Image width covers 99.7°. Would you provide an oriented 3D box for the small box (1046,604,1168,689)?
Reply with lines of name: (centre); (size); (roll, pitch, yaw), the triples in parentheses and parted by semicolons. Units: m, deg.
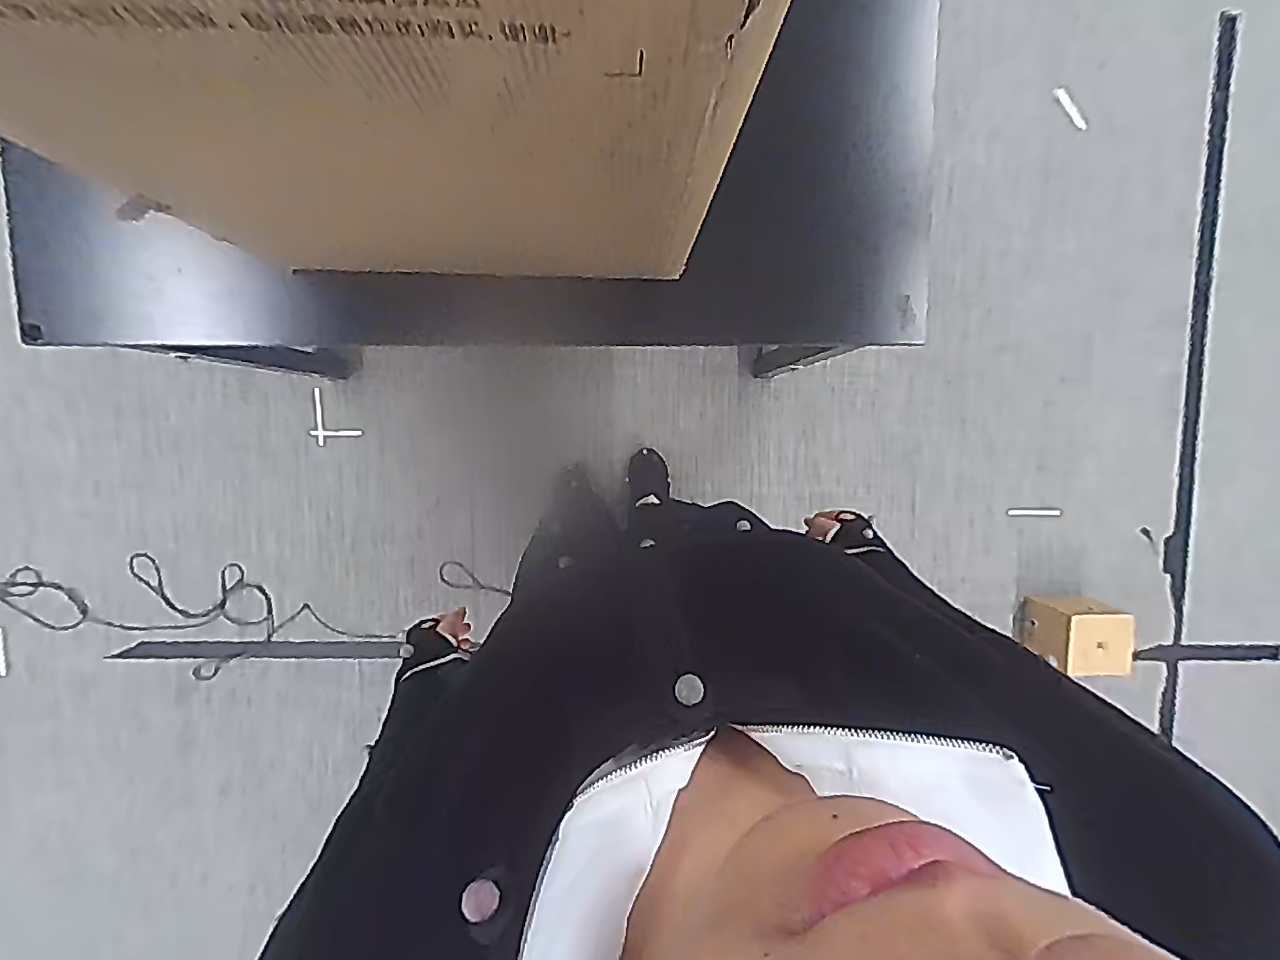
small box: (1.228, 0.434, 1.432); (0.179, 0.176, 0.168); (-1, 95, -1)
